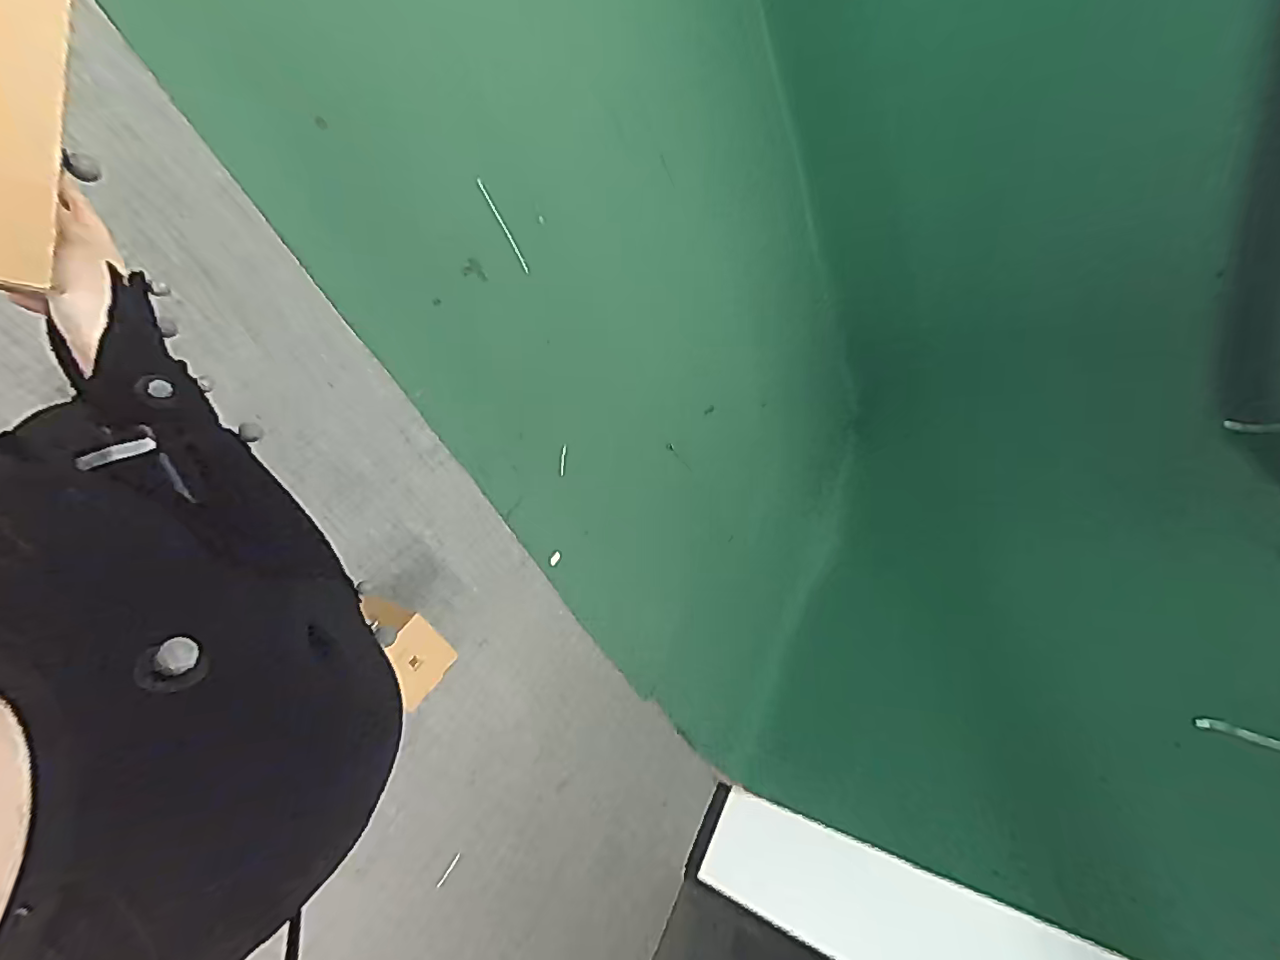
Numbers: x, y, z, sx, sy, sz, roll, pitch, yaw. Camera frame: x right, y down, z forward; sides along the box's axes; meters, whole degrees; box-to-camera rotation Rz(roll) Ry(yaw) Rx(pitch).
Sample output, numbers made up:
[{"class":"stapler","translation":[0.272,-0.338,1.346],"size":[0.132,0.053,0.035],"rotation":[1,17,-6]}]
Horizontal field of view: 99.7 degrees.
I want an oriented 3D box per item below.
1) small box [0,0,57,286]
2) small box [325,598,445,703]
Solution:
[{"class":"small box","translation":[-0.441,-0.217,0.287],"size":[0.168,0.176,0.179],"rotation":[1,104,-51]},{"class":"small box","translation":[-0.630,0.413,1.339],"size":[0.168,0.176,0.179],"rotation":[-53,129,-35]}]
